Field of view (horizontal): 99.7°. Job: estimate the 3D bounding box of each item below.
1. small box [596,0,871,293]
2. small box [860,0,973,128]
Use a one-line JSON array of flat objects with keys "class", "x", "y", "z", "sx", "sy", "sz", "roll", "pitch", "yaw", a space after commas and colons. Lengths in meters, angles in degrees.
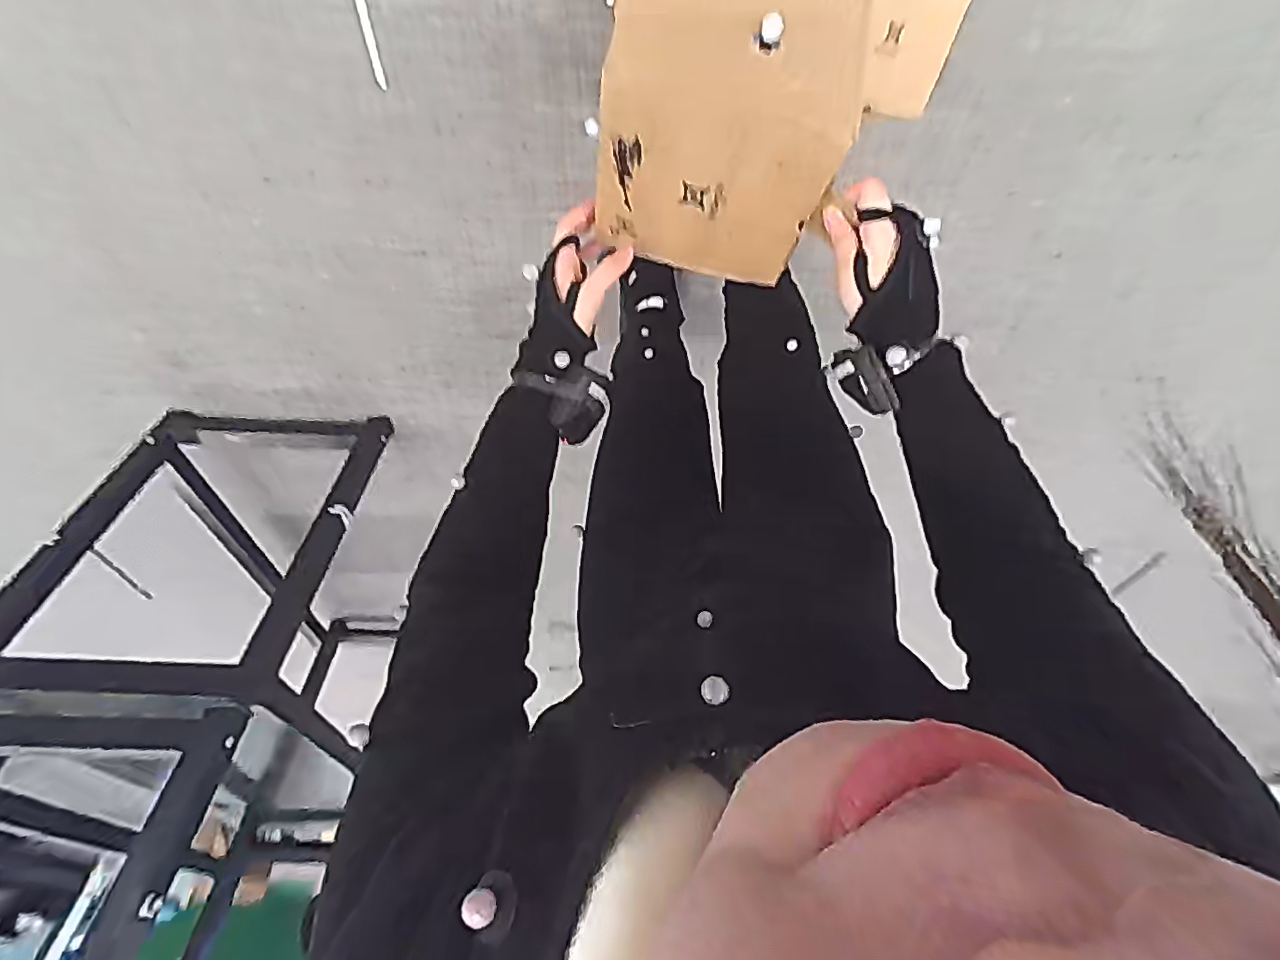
[{"class": "small box", "x": 0.068, "y": -0.287, "z": 0.440, "sx": 0.179, "sy": 0.176, "sz": 0.168, "roll": 12, "pitch": 163, "yaw": -4}, {"class": "small box", "x": 0.332, "y": -0.635, "z": 0.769, "sx": 0.168, "sy": 0.176, "sz": 0.179, "roll": 4, "pitch": 136, "yaw": -6}]
